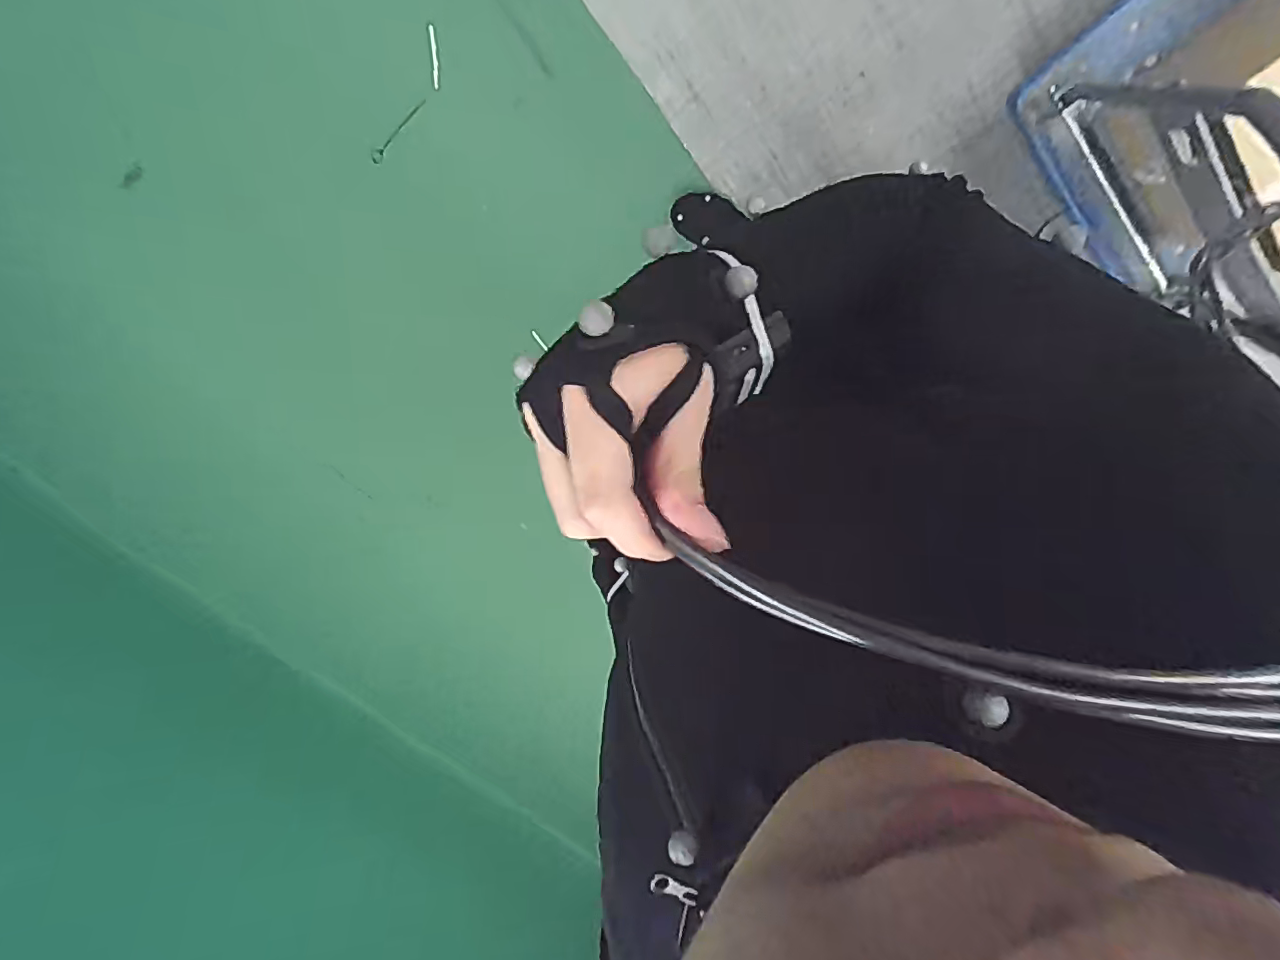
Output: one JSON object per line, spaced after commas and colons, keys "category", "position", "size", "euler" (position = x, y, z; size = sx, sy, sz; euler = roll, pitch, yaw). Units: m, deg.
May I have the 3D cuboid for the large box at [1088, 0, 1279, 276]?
{"category": "large box", "position": [1.049, -0.599, 0.837], "size": [0.408, 0.320, 0.320], "euler": [-36, 110, 29]}
